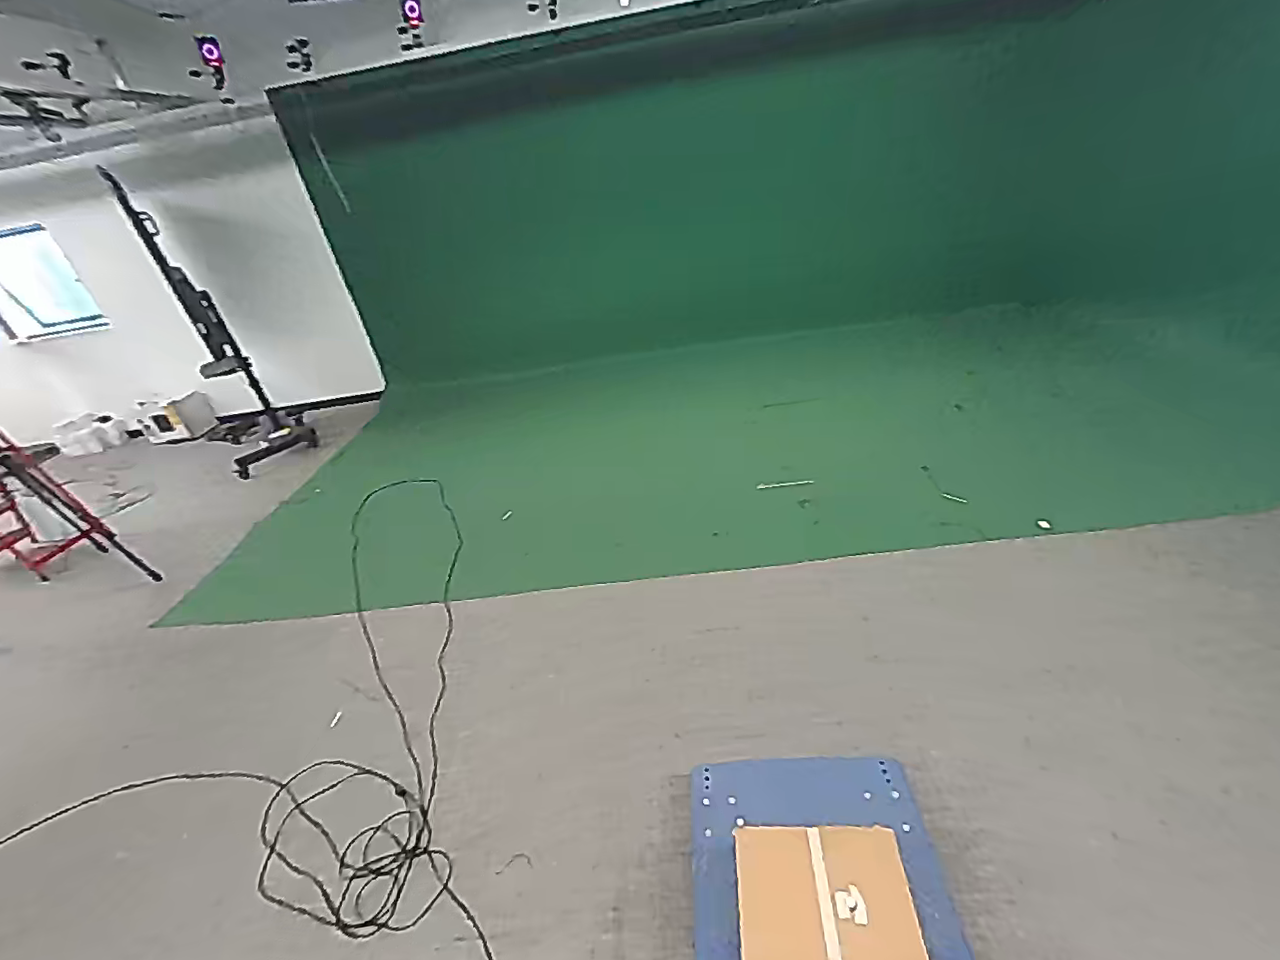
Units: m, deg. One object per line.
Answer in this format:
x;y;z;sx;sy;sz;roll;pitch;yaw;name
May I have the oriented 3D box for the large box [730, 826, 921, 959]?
0.349;0.943;1.014;0.320;0.320;0.408;-5;31;9;large box
